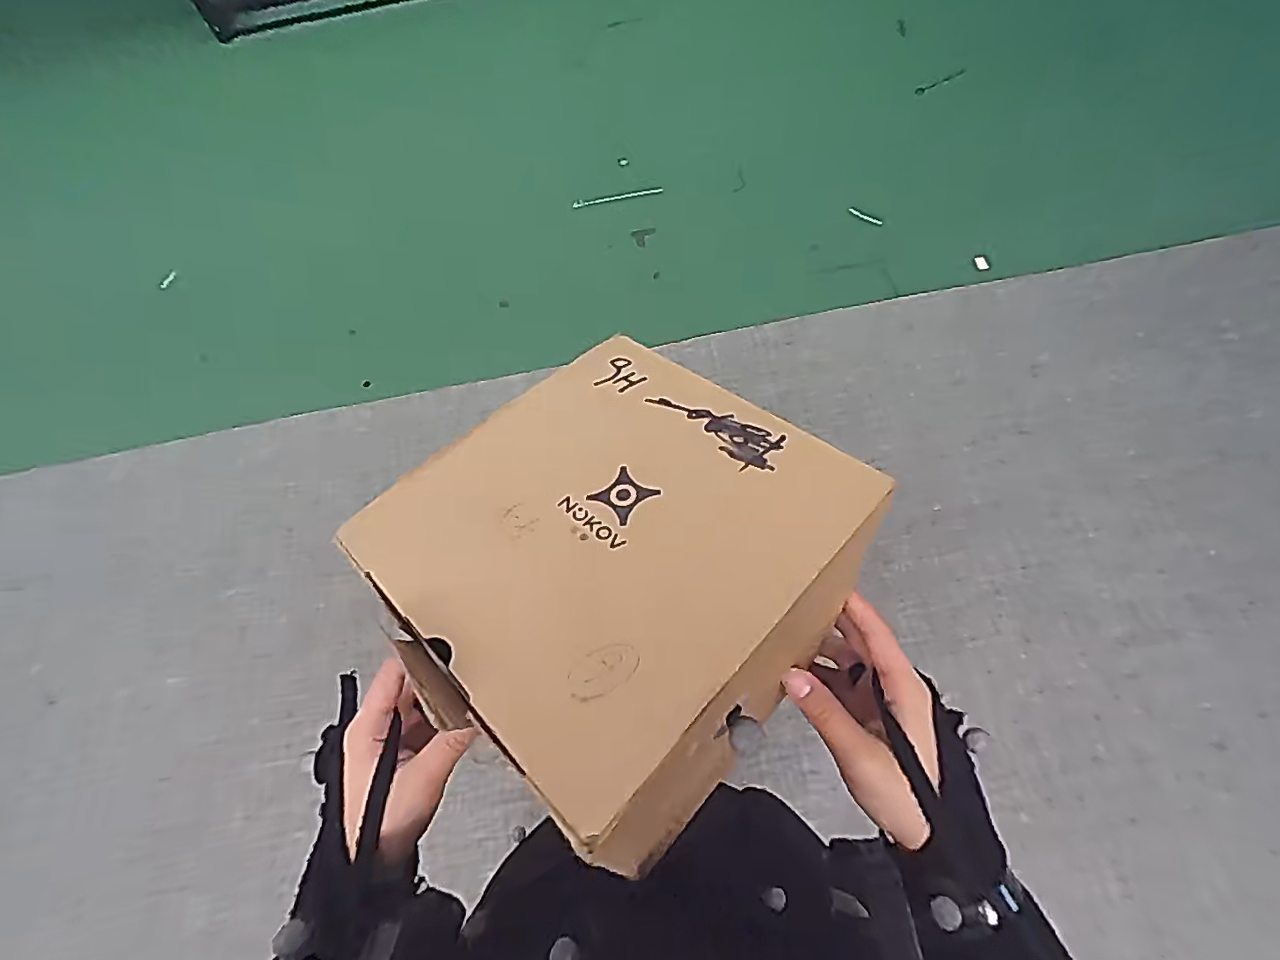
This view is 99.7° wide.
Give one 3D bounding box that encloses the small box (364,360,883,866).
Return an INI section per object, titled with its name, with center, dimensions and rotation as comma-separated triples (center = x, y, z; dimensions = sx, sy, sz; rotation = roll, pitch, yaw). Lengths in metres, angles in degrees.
[small box]
center = -0.002, 0.072, 0.299
dimensions = 0.168, 0.176, 0.179
rotation = 35, 62, 29
